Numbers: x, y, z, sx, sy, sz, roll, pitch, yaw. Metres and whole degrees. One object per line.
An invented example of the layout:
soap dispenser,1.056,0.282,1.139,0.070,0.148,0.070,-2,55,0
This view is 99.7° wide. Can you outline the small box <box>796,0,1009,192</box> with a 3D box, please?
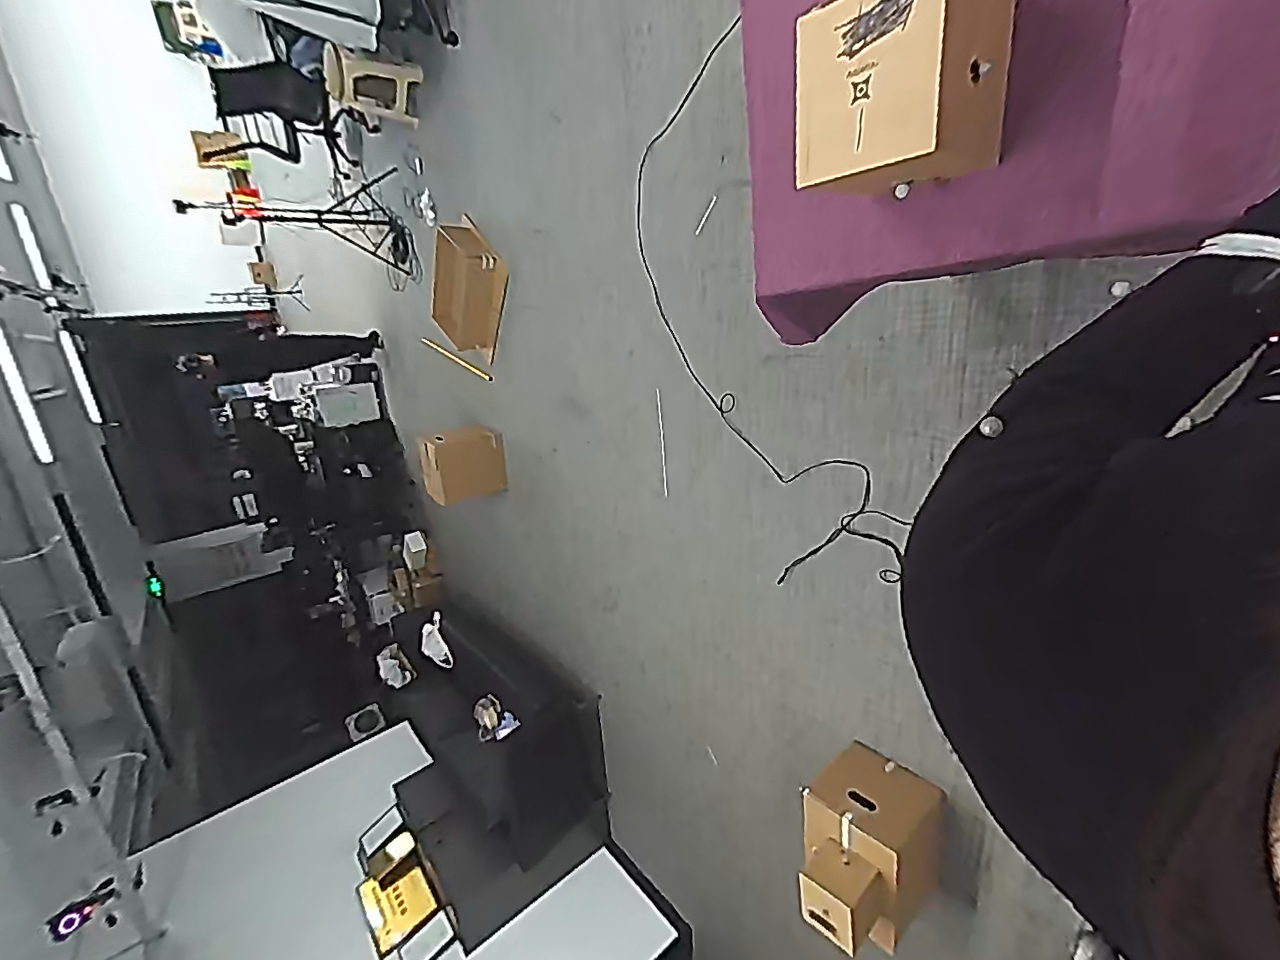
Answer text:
small box,0.299,-0.447,0.621,0.168,0.176,0.179,15,117,48
